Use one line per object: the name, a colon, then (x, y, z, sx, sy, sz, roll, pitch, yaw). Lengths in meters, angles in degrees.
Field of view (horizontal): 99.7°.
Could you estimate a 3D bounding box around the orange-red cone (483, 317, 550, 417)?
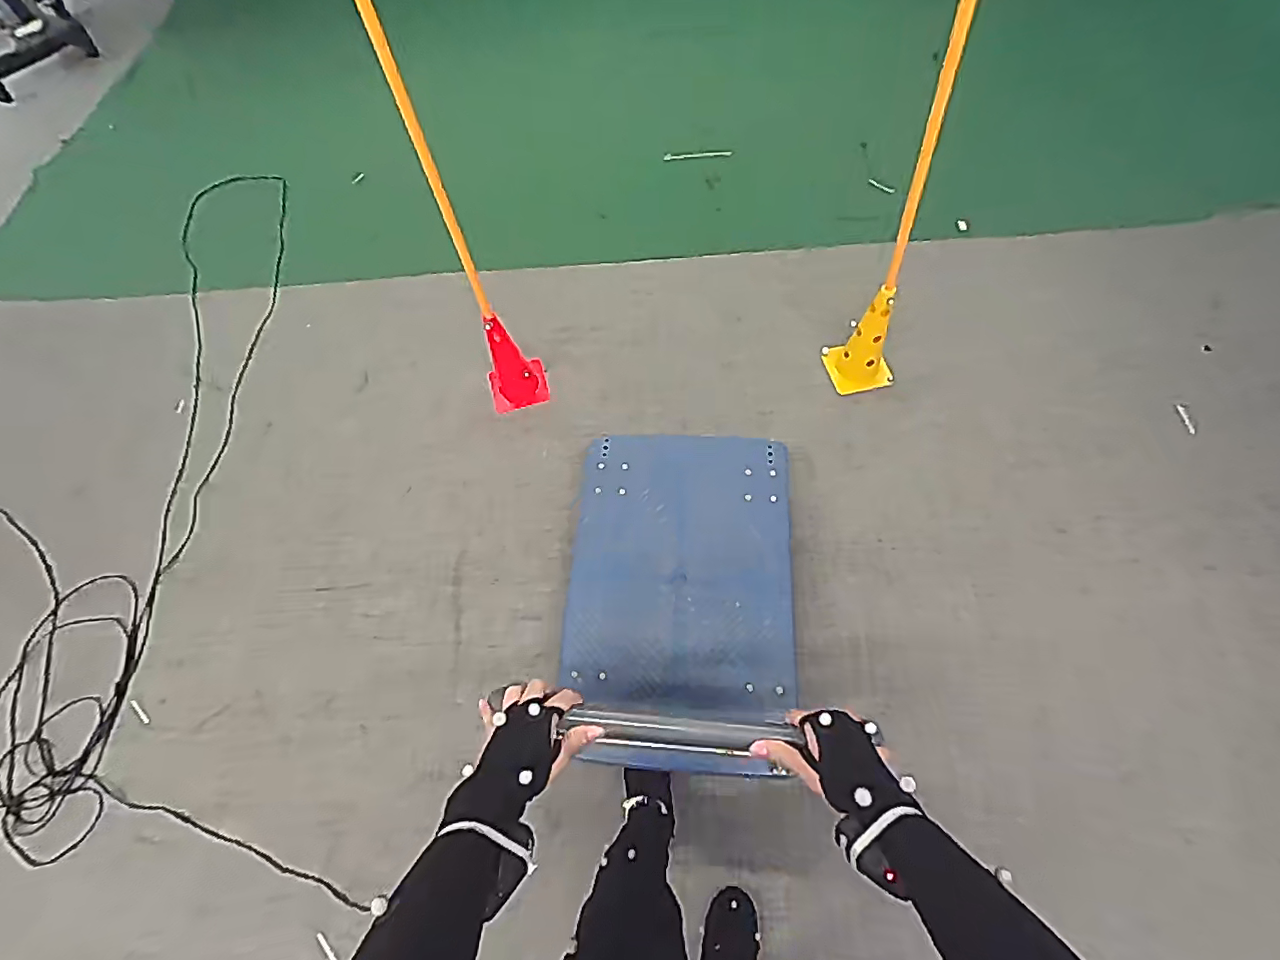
orange-red cone: (-0.446, -0.399, 1.794, 0.199, 0.360, 0.198, -16, 62, -2)
